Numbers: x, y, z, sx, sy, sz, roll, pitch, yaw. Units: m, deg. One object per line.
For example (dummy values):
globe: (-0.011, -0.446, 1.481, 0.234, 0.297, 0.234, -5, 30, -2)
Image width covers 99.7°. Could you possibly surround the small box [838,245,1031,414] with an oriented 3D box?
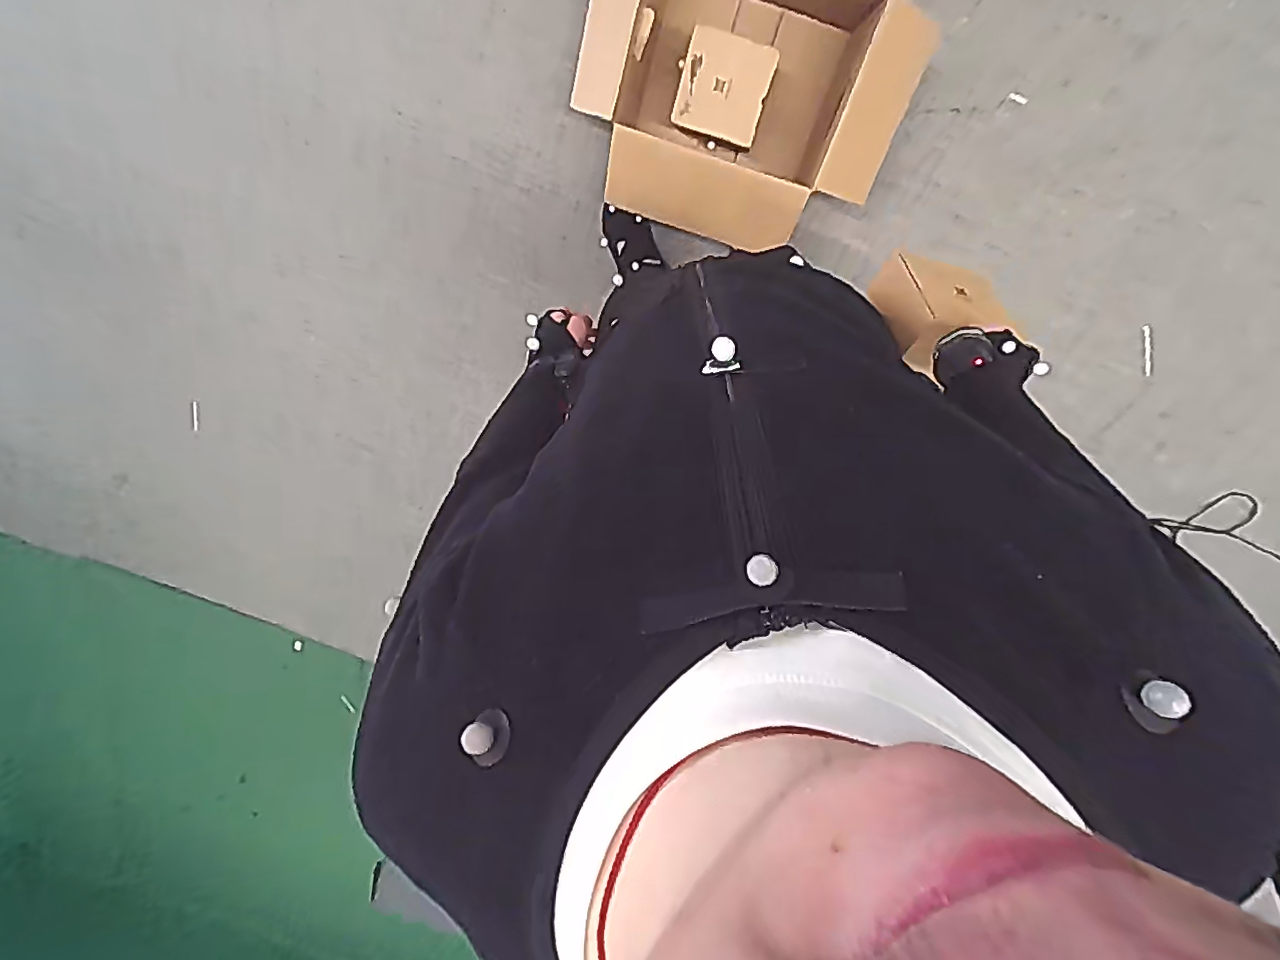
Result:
small box: (0.436, -0.224, 0.834, 0.168, 0.179, 0.176, 8, 143, -13)
